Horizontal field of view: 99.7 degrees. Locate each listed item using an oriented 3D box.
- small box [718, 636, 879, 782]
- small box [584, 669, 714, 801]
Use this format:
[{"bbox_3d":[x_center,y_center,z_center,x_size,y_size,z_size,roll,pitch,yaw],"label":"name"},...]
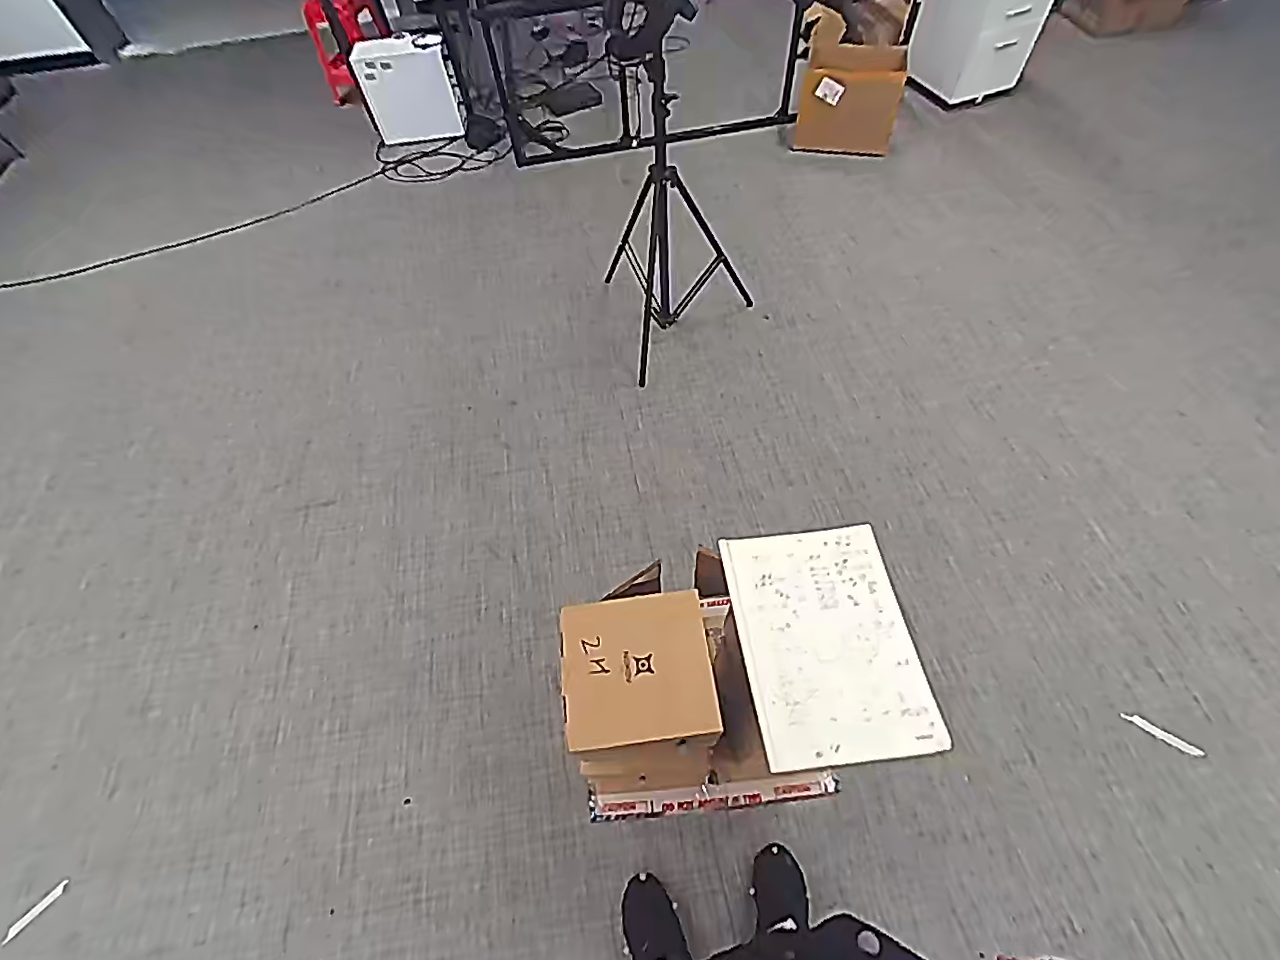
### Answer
[{"bbox_3d":[0.229,0.357,0.836,0.179,0.176,0.168,-11,58,-4],"label":"small box"},{"bbox_3d":[0.015,0.392,0.827,0.179,0.176,0.168,-5,59,3],"label":"small box"}]
